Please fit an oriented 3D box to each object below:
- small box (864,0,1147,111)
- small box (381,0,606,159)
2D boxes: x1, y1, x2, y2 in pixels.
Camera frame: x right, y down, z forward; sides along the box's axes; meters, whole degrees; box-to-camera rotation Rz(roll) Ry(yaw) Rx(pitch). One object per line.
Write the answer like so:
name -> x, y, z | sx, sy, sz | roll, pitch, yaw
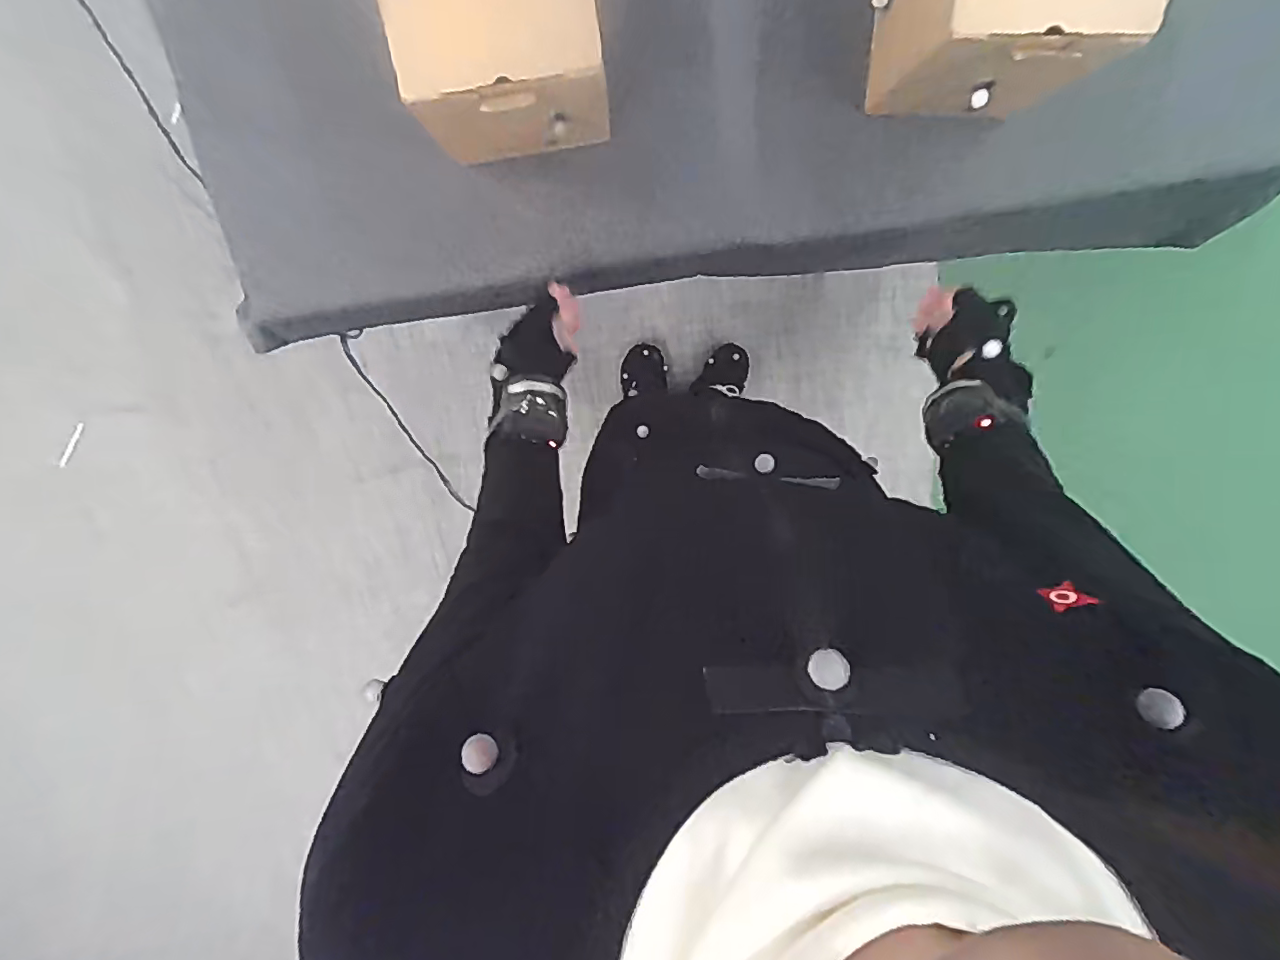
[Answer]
small box -> 0.320, -0.458, 0.487 | 0.168, 0.176, 0.179 | 0, 107, -1
small box -> -0.126, -0.419, 0.496 | 0.168, 0.176, 0.179 | -10, 104, 1
